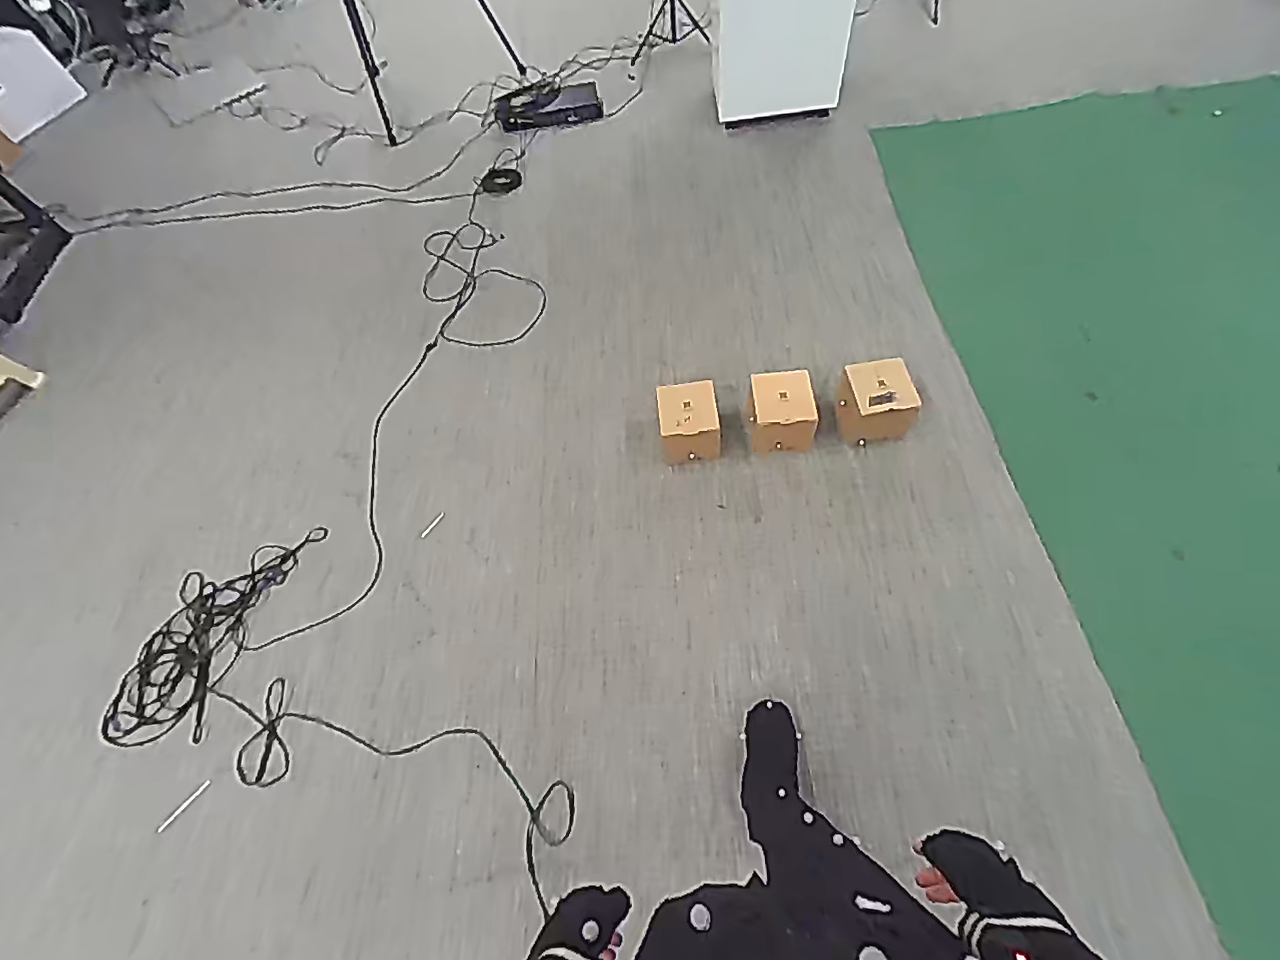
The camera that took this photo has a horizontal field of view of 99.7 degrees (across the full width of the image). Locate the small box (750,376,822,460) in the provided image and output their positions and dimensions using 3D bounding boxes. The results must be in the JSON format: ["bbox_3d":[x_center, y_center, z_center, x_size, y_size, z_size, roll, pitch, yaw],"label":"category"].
[{"bbox_3d":[0.420,-0.179,1.584,0.168,0.176,0.179,-5,61,5],"label":"small box"}]

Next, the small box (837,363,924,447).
[{"bbox_3d":[0.686,-0.207,1.562,0.168,0.176,0.179,-7,60,3],"label":"small box"}]

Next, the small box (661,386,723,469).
[{"bbox_3d":[0.153,-0.152,1.601,0.168,0.176,0.179,-7,61,5],"label":"small box"}]
